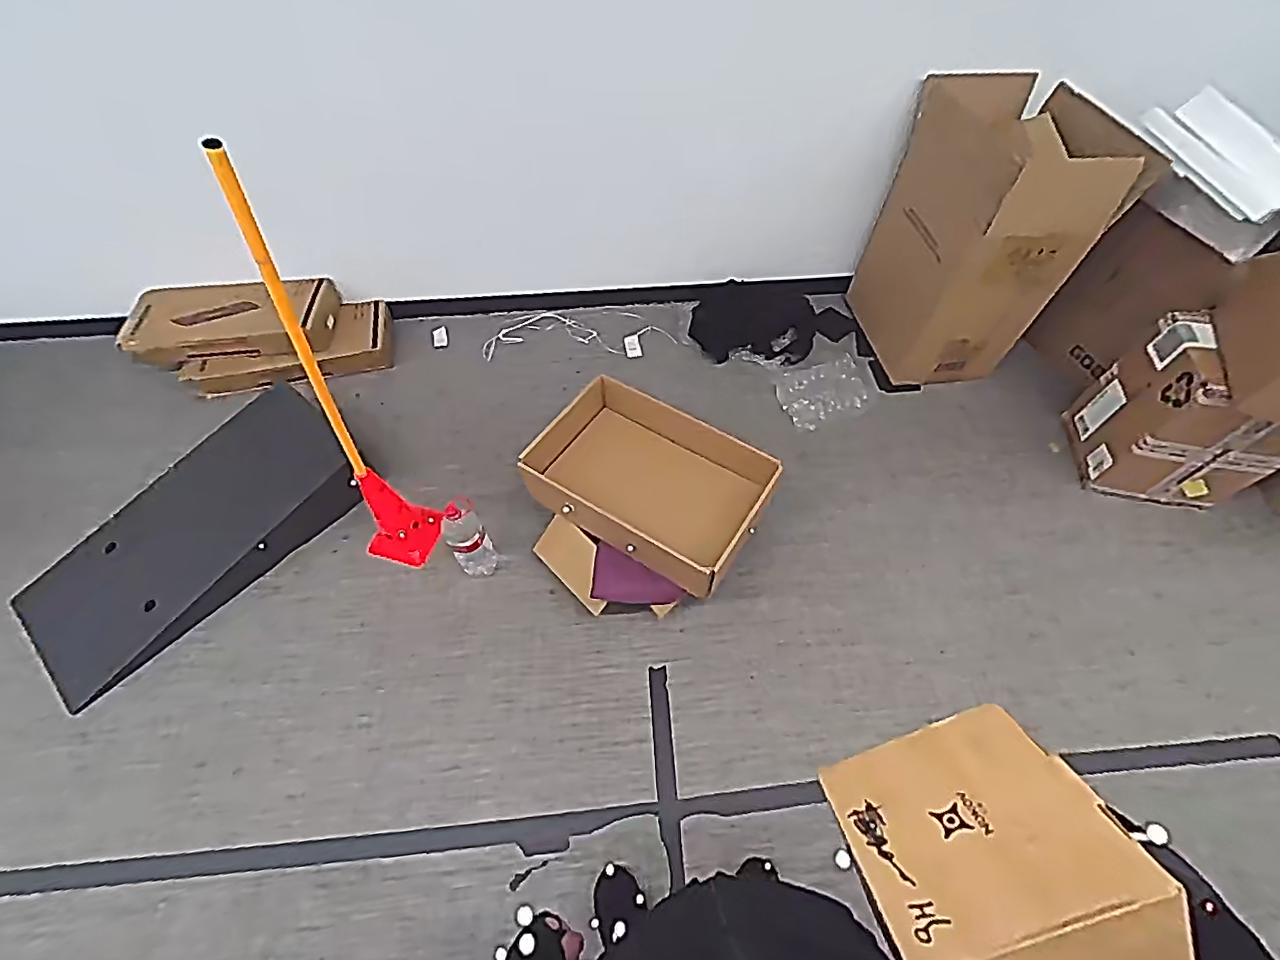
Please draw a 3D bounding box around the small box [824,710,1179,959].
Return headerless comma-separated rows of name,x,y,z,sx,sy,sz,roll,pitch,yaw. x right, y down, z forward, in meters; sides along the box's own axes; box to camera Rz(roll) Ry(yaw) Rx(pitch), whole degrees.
small box,0.284,0.336,0.445,0.179,0.176,0.168,-23,16,4
